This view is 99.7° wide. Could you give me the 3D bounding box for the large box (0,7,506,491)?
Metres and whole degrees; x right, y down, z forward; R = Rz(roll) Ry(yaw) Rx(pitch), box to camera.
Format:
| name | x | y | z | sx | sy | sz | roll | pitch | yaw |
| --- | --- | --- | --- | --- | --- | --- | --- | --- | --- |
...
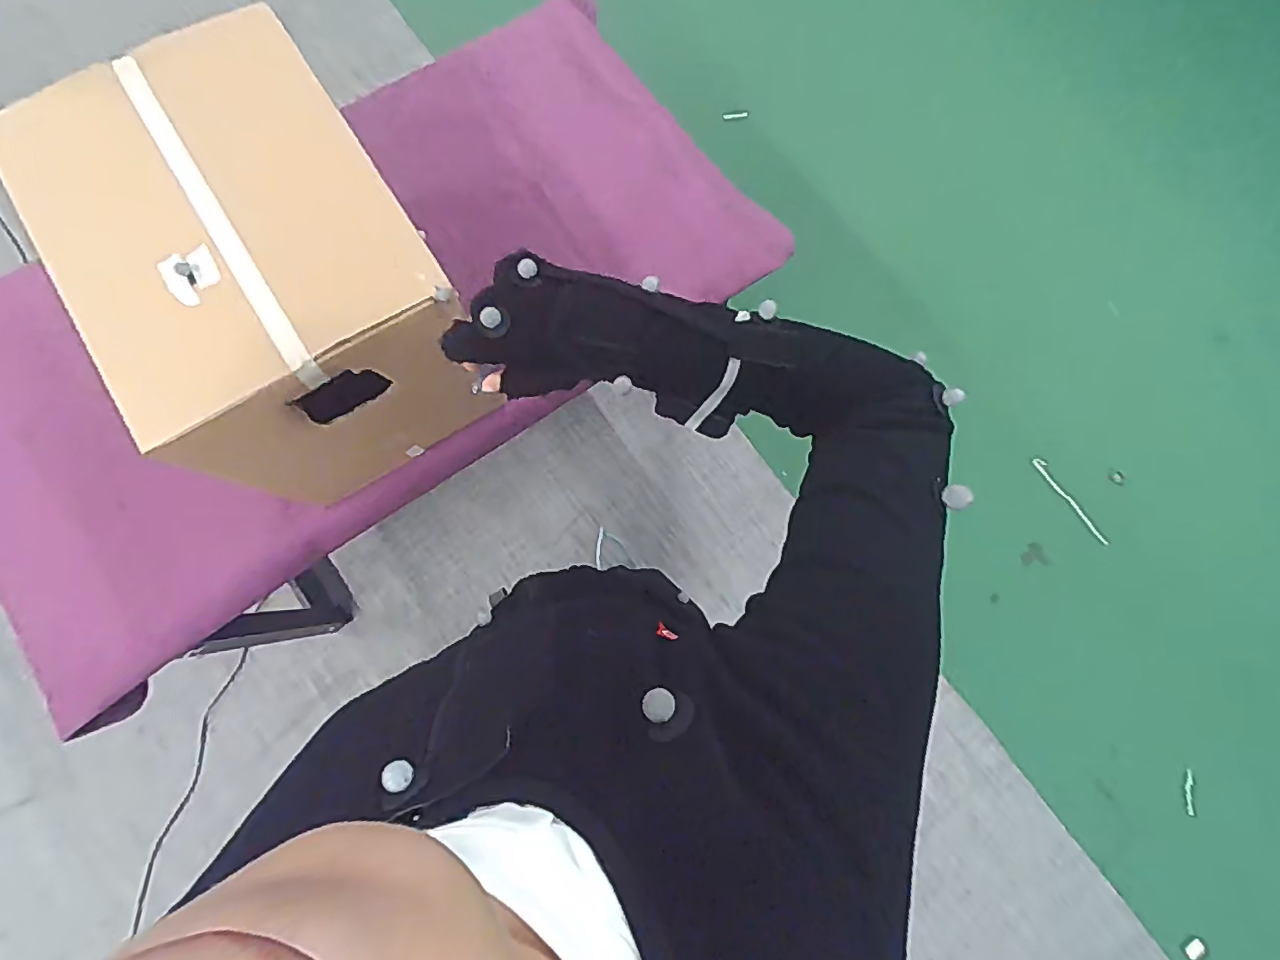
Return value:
| name | x | y | z | sx | sy | sz | roll | pitch | yaw |
| --- | --- | --- | --- | --- | --- | --- | --- | --- | --- |
| large box | -0.423 | -0.251 | 0.687 | 0.320 | 0.320 | 0.408 | -32 | 83 | -9 |
